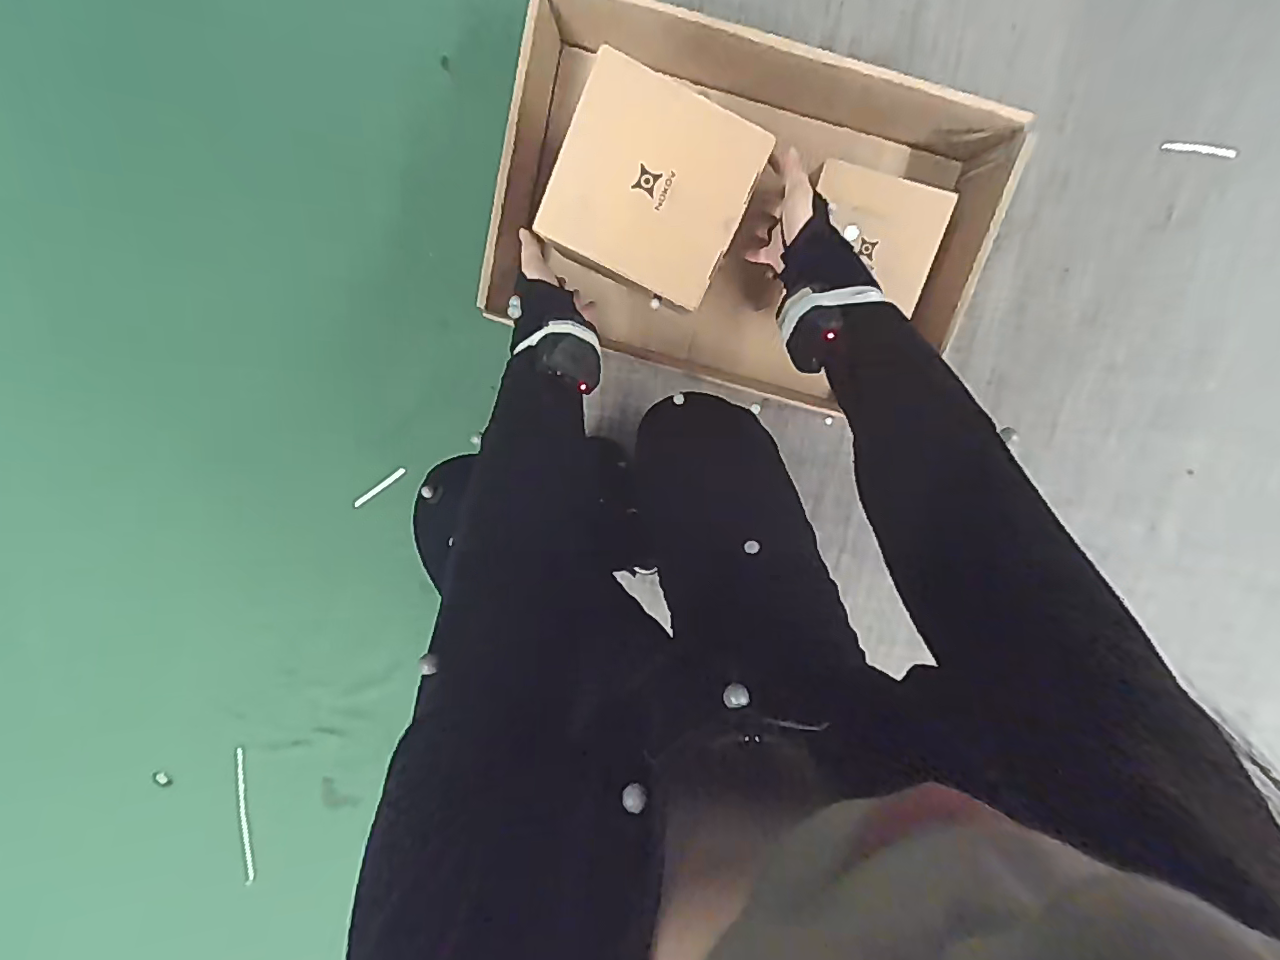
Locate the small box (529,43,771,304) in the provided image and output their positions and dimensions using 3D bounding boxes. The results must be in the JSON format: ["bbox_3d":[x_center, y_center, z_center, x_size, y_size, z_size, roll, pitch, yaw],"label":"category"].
[{"bbox_3d":[0.008,-0.296,0.572,0.179,0.176,0.168,24,105,-6],"label":"small box"}]
